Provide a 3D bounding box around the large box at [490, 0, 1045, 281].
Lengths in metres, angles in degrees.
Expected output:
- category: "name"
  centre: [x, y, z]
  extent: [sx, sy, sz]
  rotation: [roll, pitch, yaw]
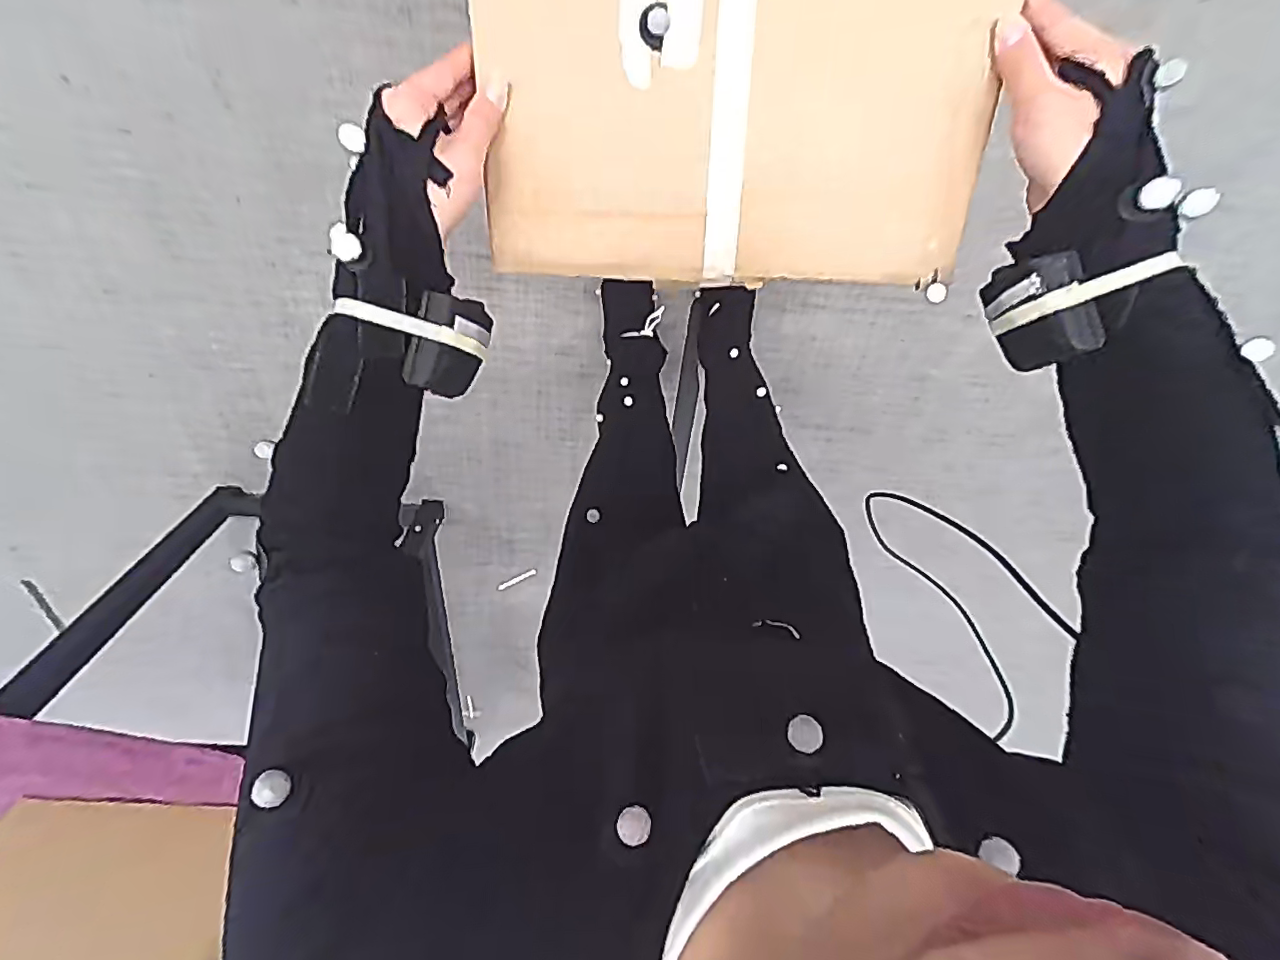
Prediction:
- category: "large box"
  centre: [0.075, -0.381, 0.407]
  extent: [0.320, 0.320, 0.408]
  rotation: [2, 117, 3]
